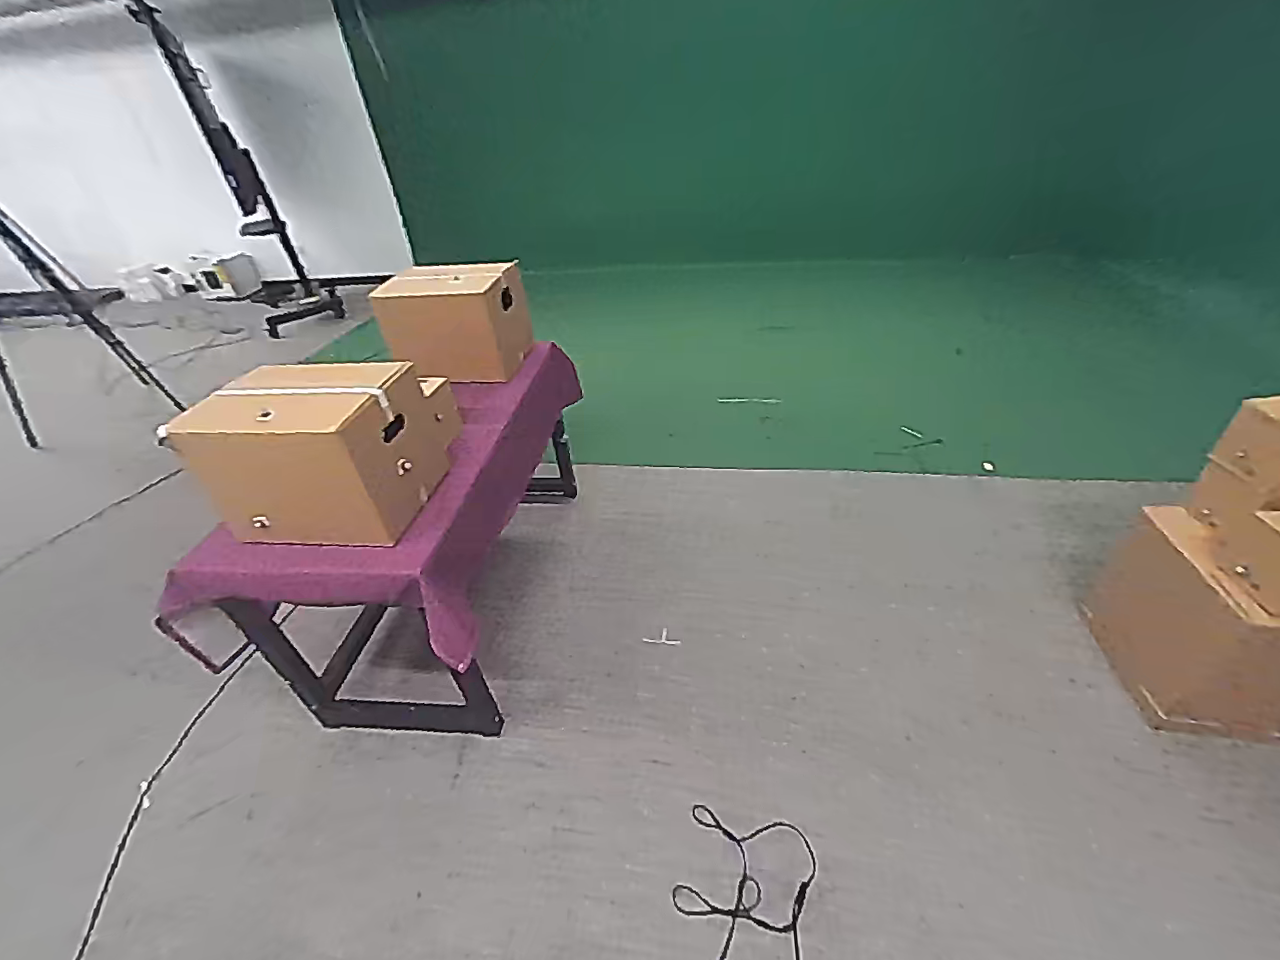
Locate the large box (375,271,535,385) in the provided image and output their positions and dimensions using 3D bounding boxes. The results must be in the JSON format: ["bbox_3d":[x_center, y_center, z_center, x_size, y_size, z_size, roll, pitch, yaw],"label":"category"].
[{"bbox_3d":[-0.628,-0.538,1.907,0.408,0.320,0.320,3,38,9],"label":"large box"}]

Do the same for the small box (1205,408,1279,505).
[{"bbox_3d":[1.533,-0.057,1.285,0.179,0.176,0.168,-5,37,3],"label":"small box"}]
